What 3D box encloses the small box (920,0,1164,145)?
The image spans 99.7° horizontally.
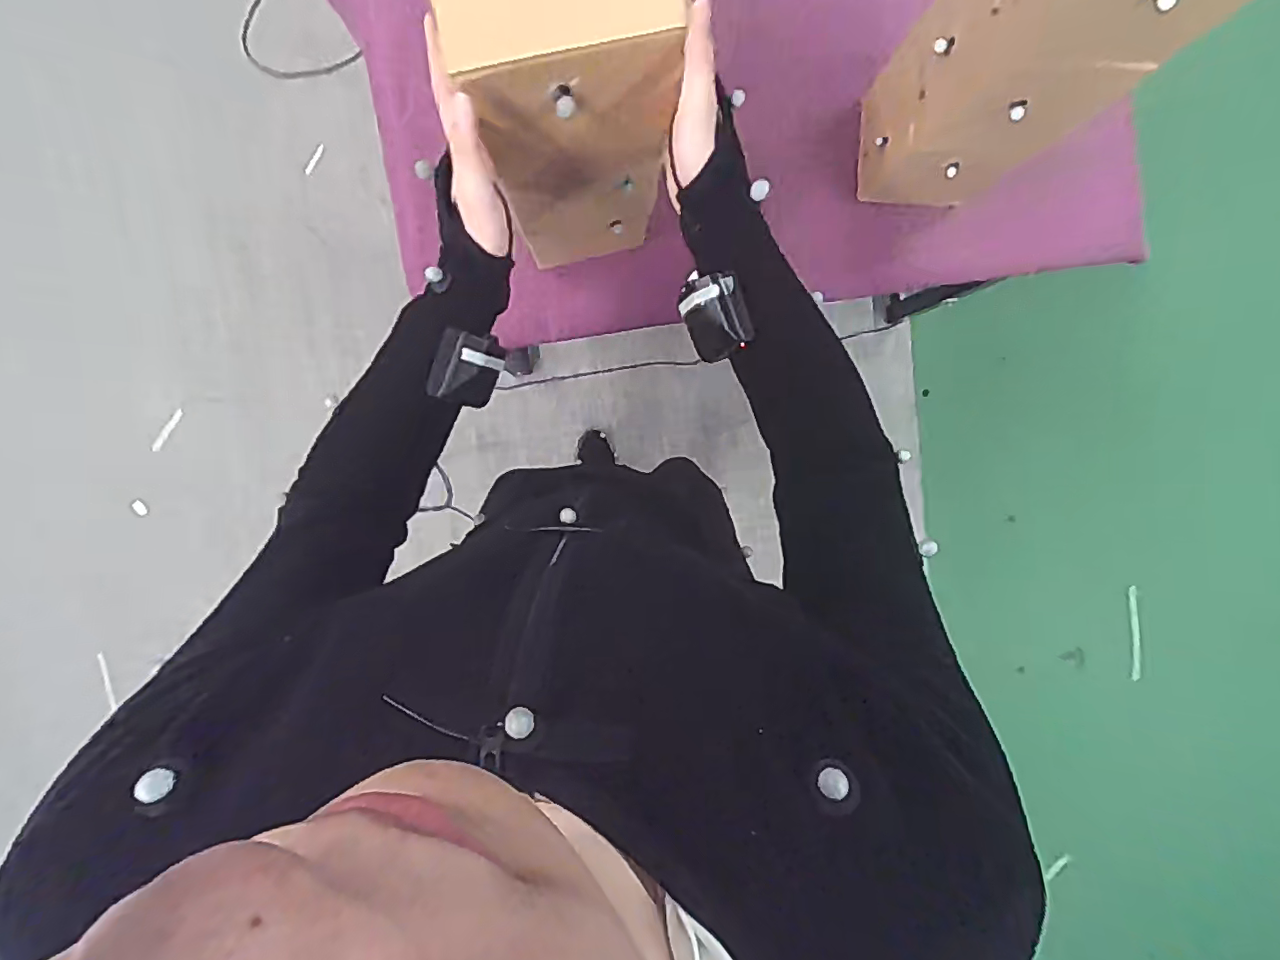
[{"bbox_3d":[0.454,-0.519,0.633,0.179,0.176,0.168,-1,95,-1],"label":"small box"}]

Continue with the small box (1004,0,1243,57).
[{"bbox_3d":[0.462,-0.508,0.469,0.179,0.176,0.168,-2,95,-1],"label":"small box"}]

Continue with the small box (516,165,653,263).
[{"bbox_3d":[-0.089,-0.435,0.779,0.179,0.176,0.168,-14,95,-1],"label":"small box"}]

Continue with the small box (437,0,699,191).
[{"bbox_3d":[-0.060,-0.372,0.448,0.179,0.176,0.168,-12,93,1],"label":"small box"}]

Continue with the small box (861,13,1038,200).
[{"bbox_3d":[0.447,-0.534,0.796,0.179,0.176,0.168,2,95,-3],"label":"small box"}]
